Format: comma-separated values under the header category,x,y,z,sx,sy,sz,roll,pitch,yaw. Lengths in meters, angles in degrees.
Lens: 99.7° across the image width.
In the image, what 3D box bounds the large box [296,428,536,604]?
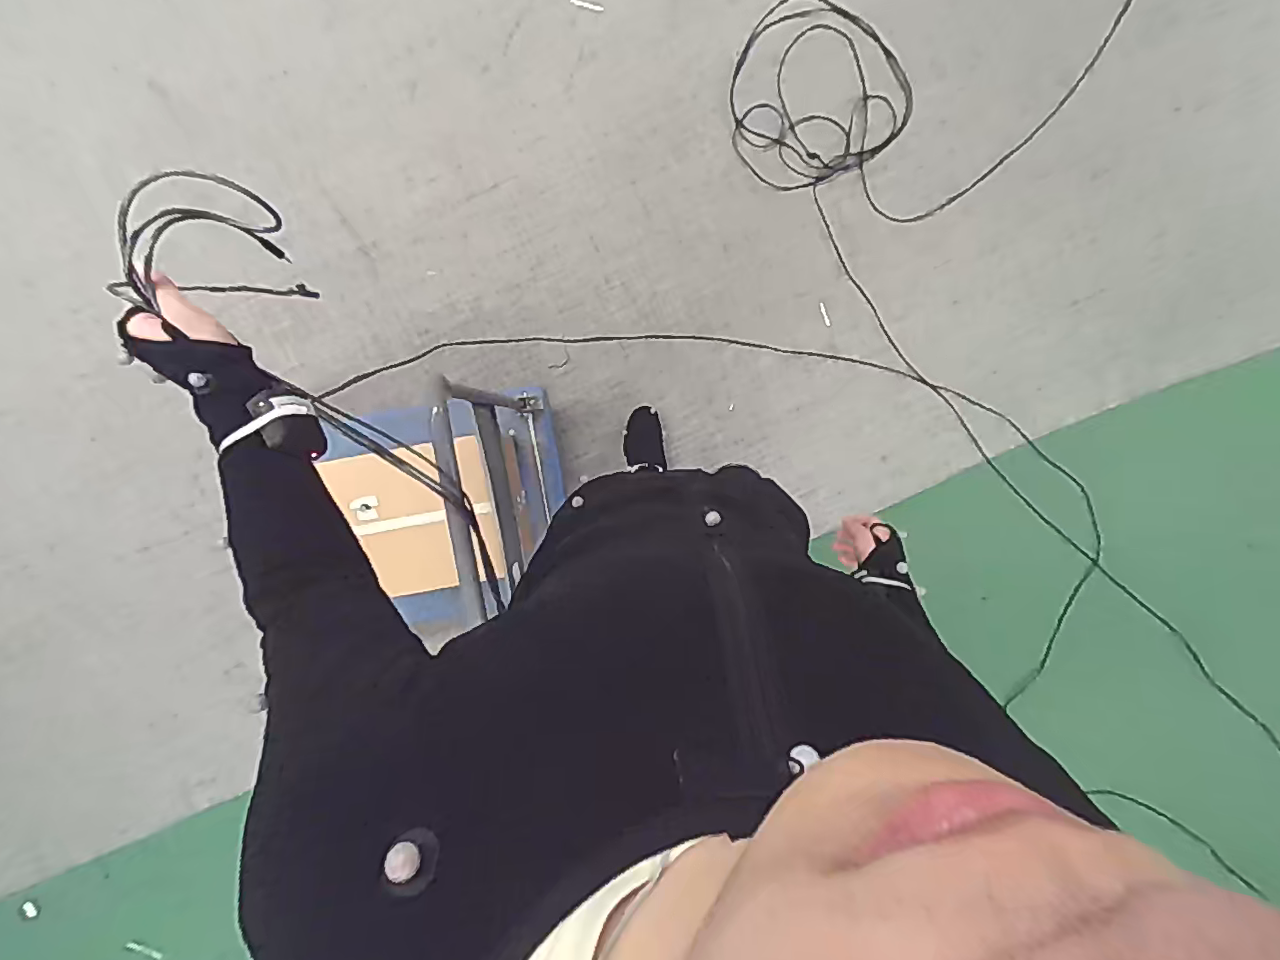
category,x,y,z,sx,sy,sz,roll,pitch,yaw
large box,-0.499,0.064,1.289,0.408,0.320,0.320,-11,95,1
